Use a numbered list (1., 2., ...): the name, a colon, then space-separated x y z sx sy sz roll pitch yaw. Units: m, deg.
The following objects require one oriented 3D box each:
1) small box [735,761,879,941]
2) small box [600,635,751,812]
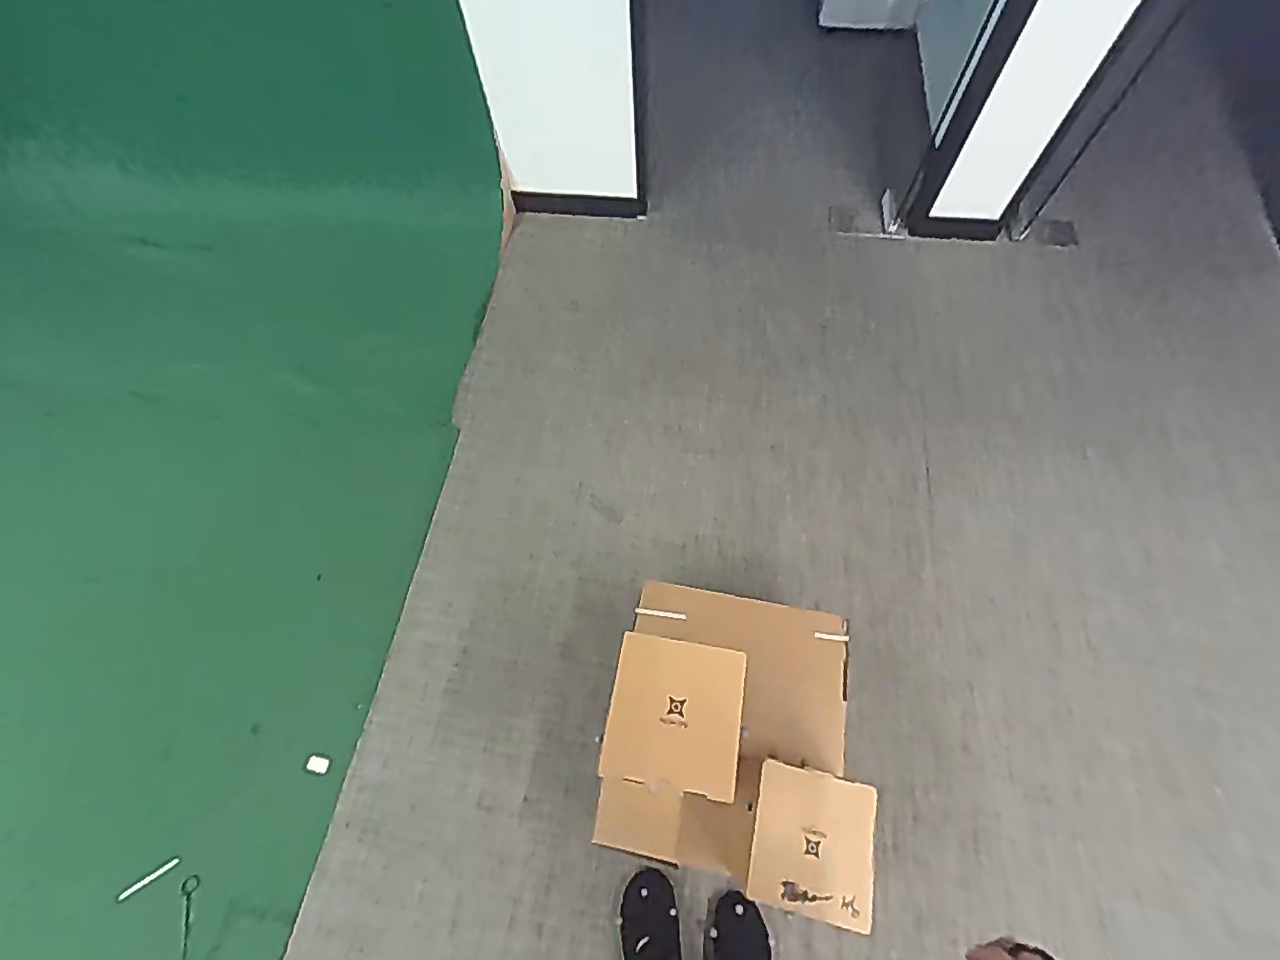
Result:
1. small box: 0.242 0.538 0.809 0.168 0.176 0.179 11 63 8
2. small box: 0.050 0.331 0.743 0.168 0.176 0.179 9 65 7
